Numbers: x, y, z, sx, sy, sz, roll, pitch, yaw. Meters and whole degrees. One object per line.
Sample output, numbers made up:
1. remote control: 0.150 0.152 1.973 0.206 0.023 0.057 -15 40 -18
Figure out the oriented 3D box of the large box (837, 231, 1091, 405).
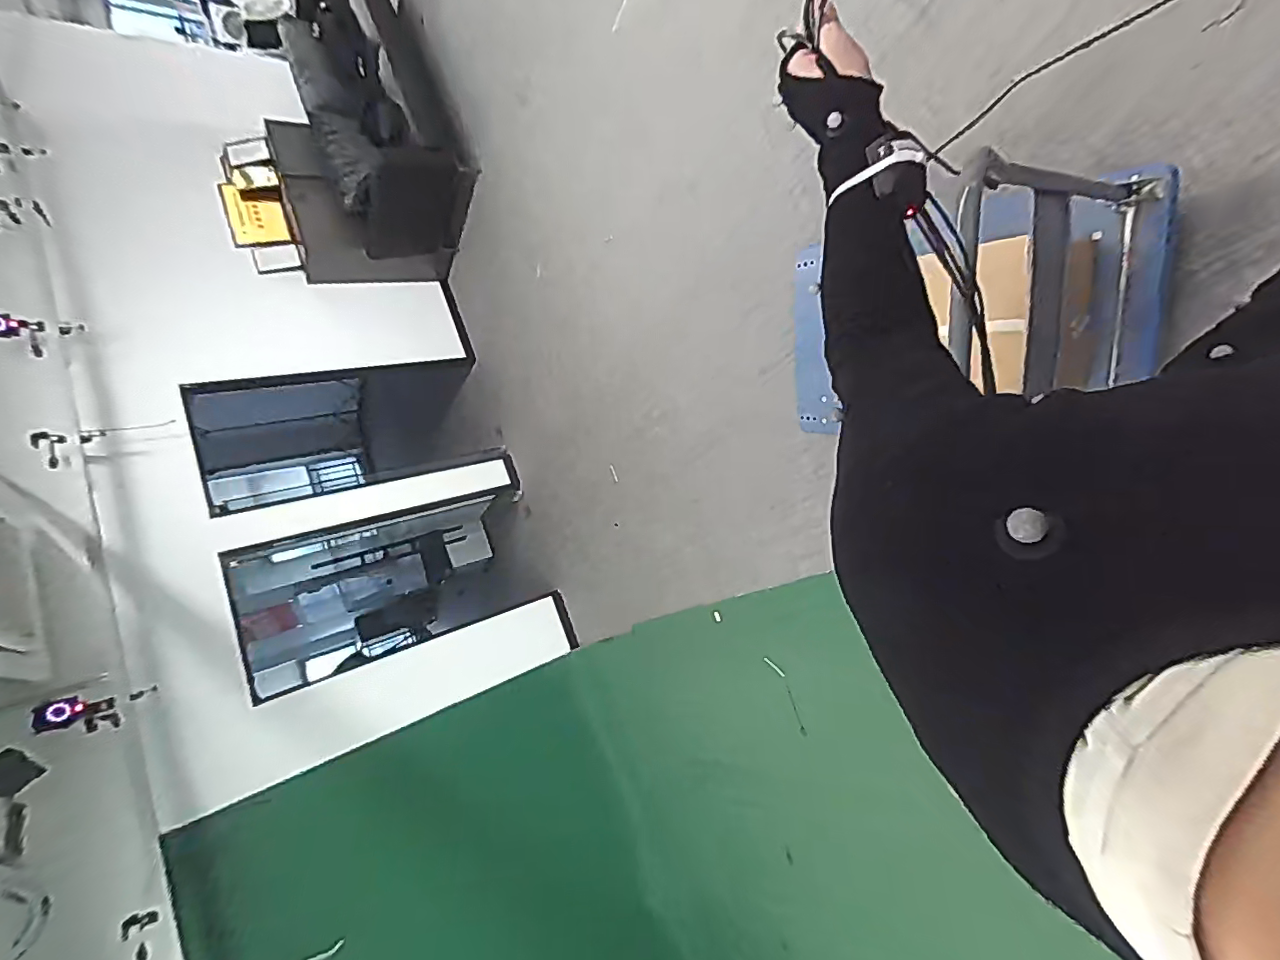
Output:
1. large box: 0.714 -0.349 1.220 0.408 0.320 0.320 13 113 54
